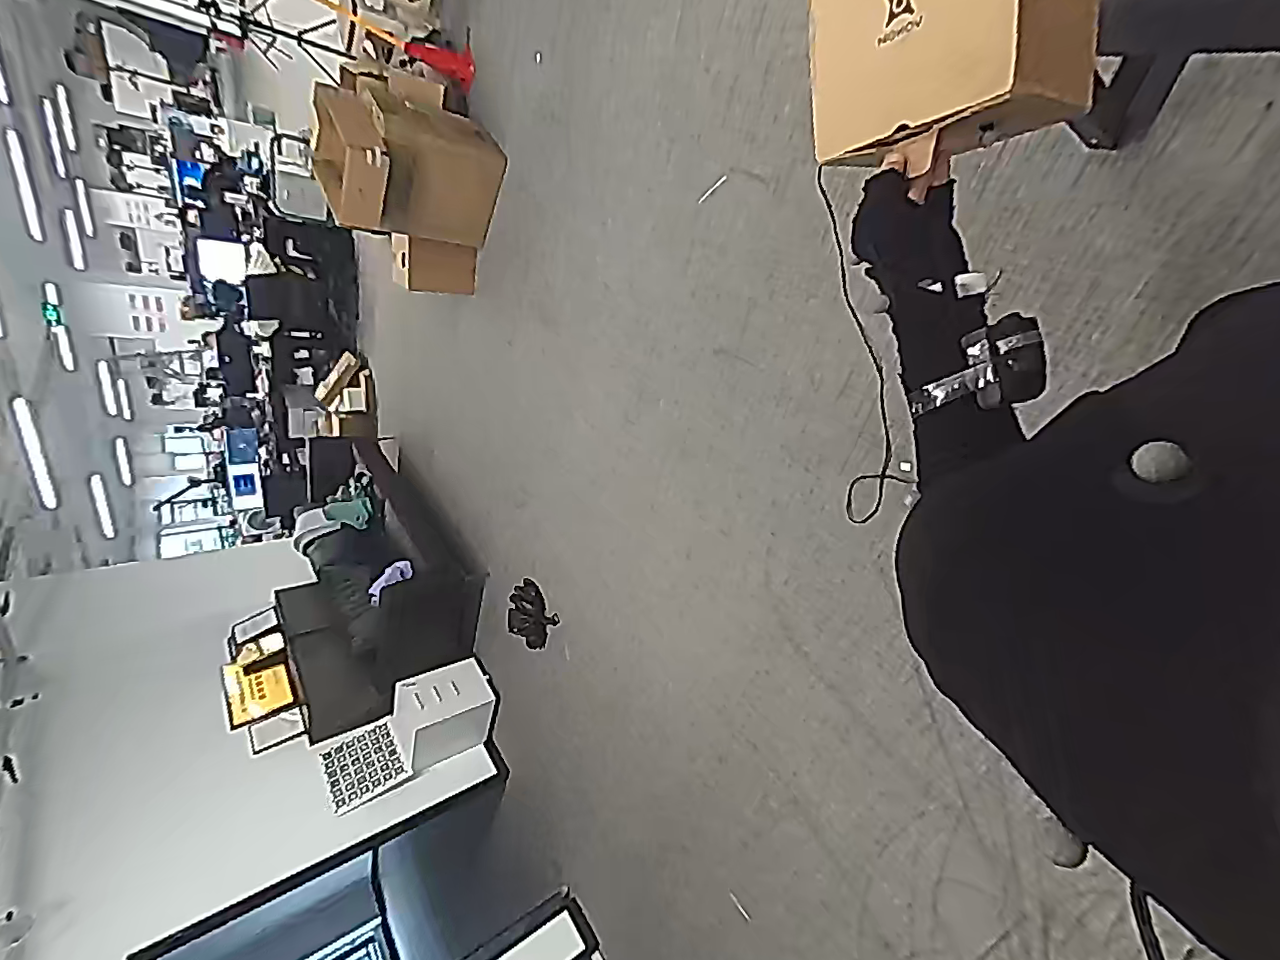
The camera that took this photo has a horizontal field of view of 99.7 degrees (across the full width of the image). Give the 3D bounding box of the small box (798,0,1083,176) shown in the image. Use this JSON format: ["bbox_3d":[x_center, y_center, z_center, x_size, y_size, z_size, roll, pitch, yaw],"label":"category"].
[{"bbox_3d":[0.259,-0.382,0.468,0.168,0.176,0.179,12,116,51],"label":"small box"}]
